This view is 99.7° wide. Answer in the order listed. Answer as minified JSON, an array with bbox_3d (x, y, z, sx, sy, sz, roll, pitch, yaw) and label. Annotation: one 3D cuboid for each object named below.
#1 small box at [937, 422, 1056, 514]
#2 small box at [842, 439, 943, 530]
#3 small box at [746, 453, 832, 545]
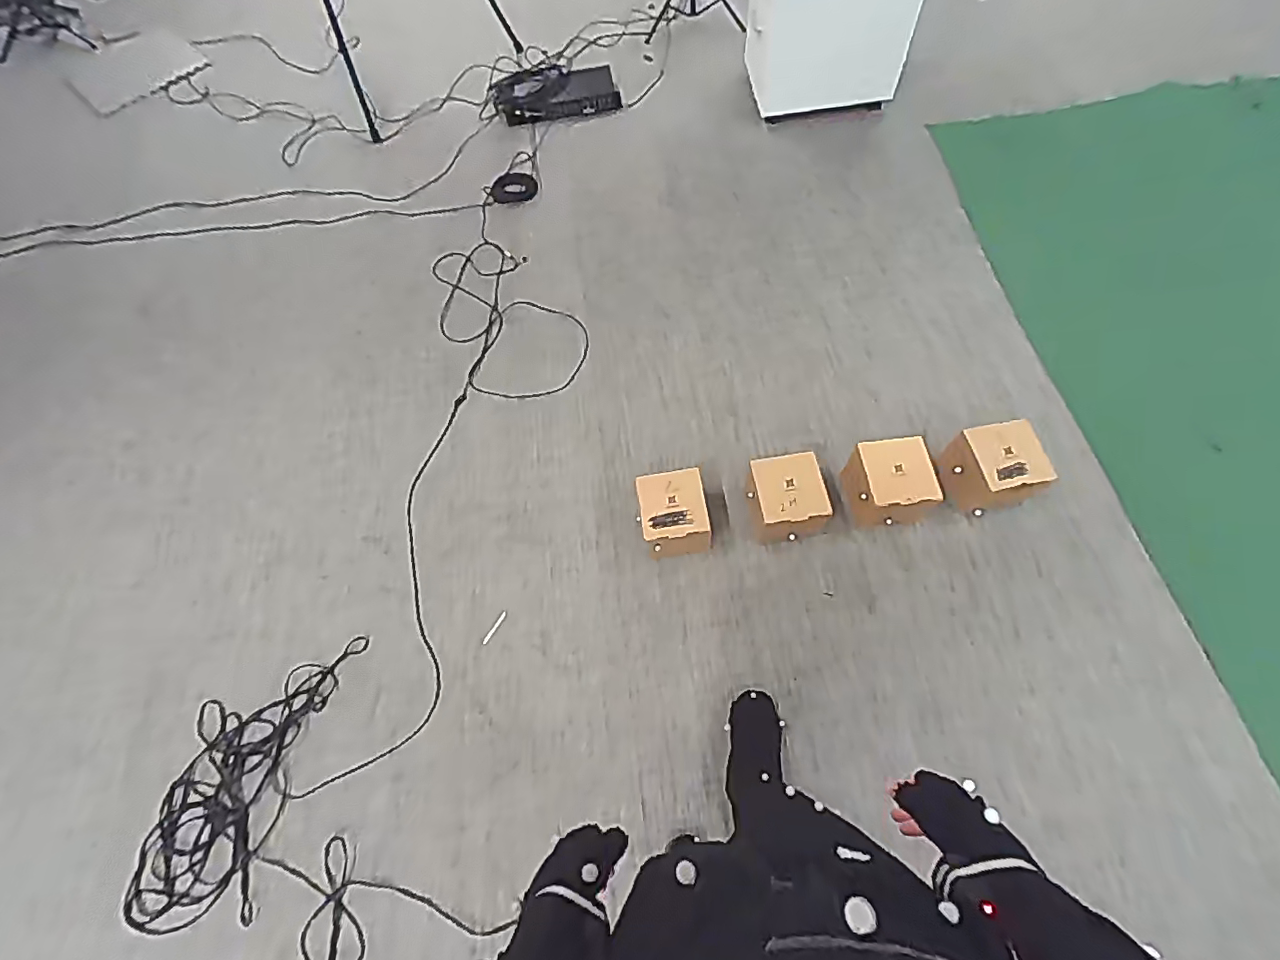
[{"bbox_3d":[0.908,-0.023,1.394,0.168,0.176,0.179,-10,64,0],"label":"small box"},{"bbox_3d":[0.642,0.015,1.400,0.168,0.176,0.179,-7,65,1],"label":"small box"},{"bbox_3d":[0.376,0.052,1.402,0.168,0.176,0.179,-9,65,2],"label":"small box"}]
